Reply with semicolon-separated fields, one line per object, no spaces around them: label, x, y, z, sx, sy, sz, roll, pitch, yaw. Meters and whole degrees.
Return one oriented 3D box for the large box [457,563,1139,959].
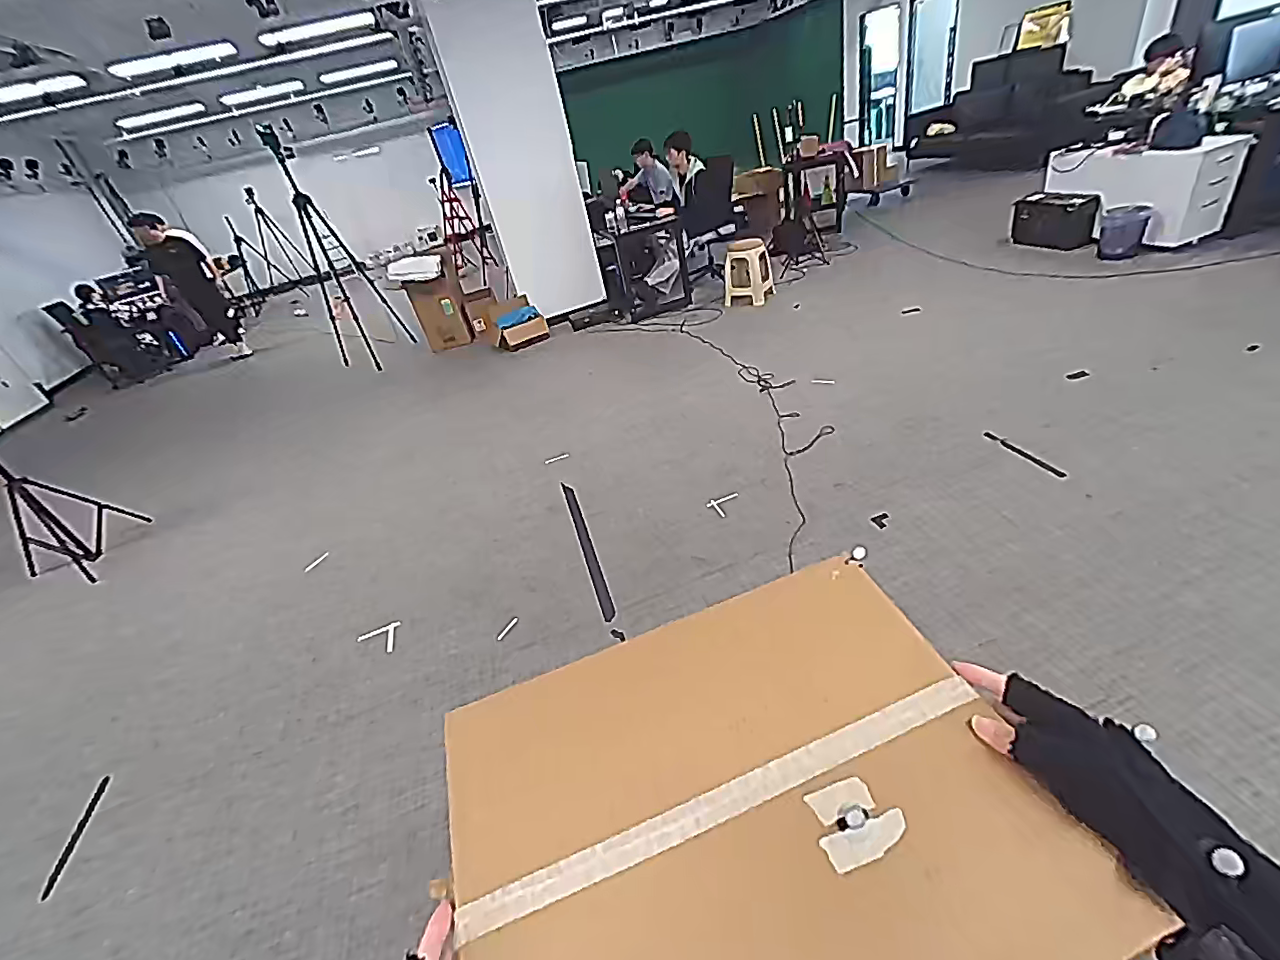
large box;0.092;0.348;0.498;0.408;0.320;0.320;-19;42;-10
